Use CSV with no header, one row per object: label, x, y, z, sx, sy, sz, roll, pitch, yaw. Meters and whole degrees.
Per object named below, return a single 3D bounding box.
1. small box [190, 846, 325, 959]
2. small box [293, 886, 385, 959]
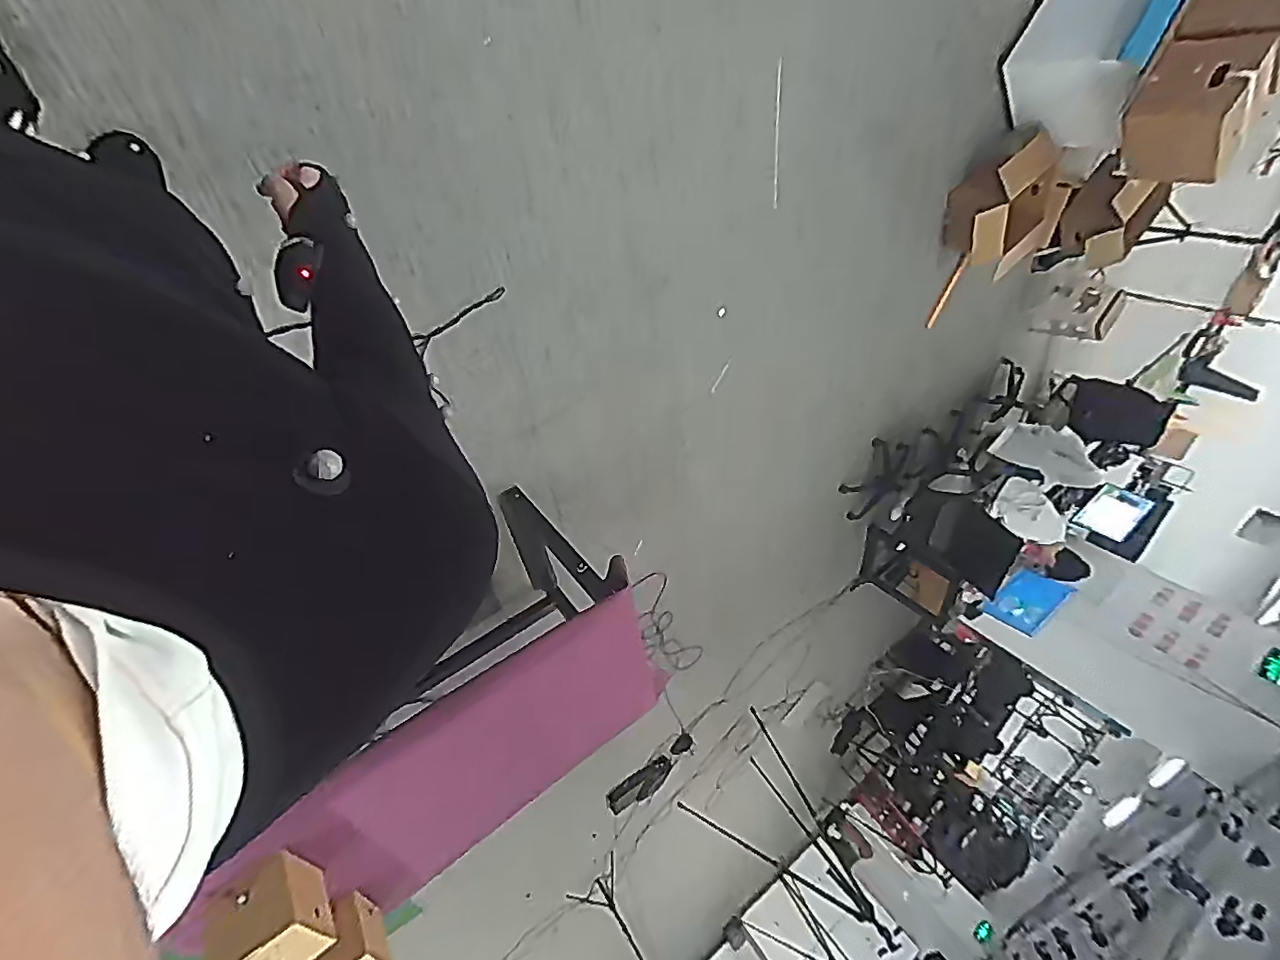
small box,-0.804,0.922,1.141,0.168,0.176,0.179,-31,135,-25
small box,-0.768,1.162,1.343,0.168,0.176,0.179,-28,131,-24
